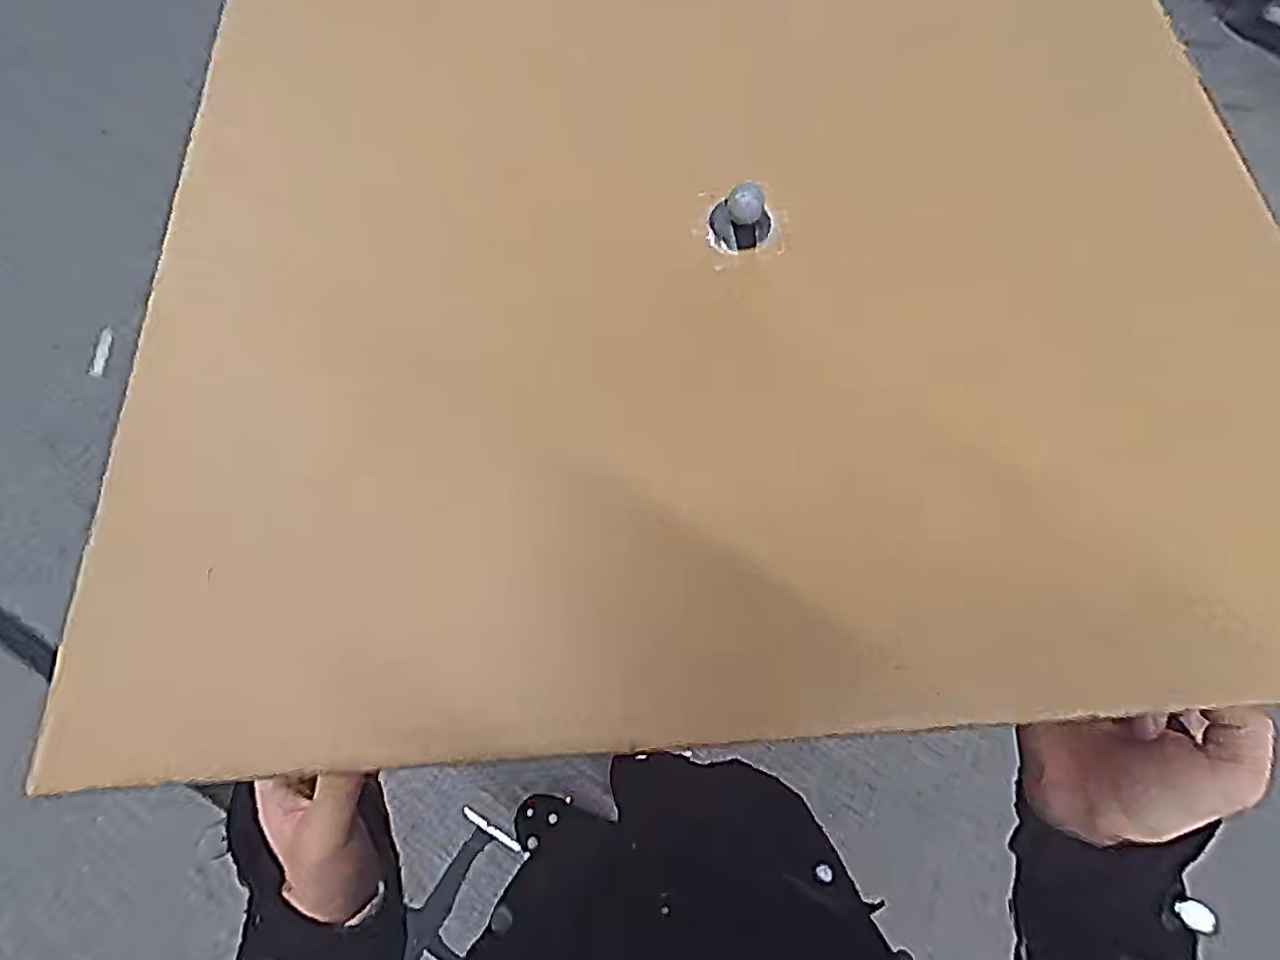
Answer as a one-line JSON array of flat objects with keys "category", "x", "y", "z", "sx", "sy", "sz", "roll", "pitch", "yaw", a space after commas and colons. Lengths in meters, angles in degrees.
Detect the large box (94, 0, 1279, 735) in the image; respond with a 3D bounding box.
[{"category": "large box", "x": 0.038, "y": -0.042, "z": 0.332, "sx": 0.408, "sy": 0.320, "sz": 0.320, "roll": -3, "pitch": 73, "yaw": -1}]
